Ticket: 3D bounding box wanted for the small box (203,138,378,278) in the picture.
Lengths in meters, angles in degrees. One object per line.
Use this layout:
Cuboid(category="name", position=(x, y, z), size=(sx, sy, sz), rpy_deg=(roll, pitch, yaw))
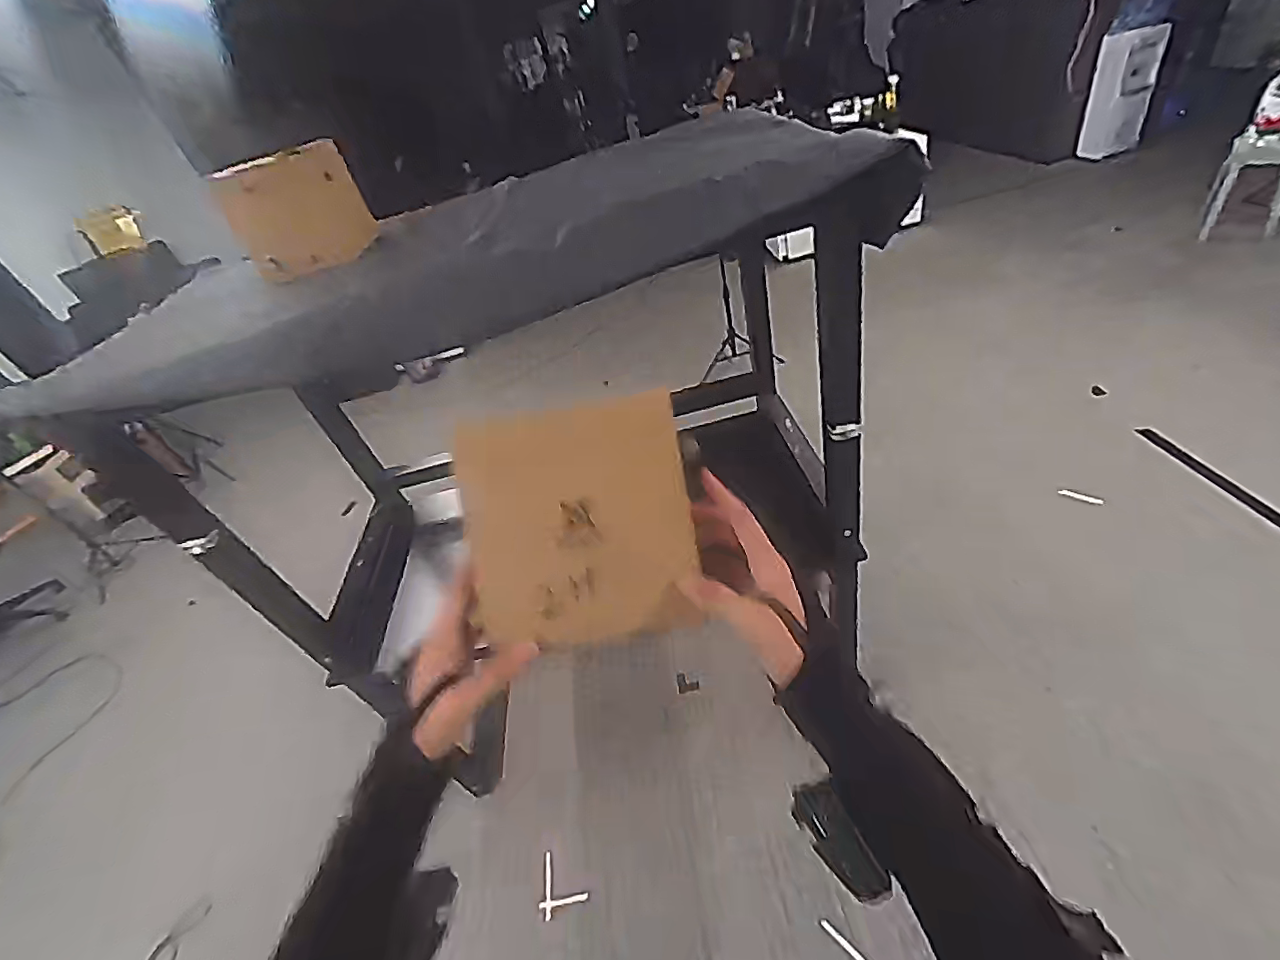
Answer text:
Cuboid(category="small box", position=(-0.596, -0.474, 0.953), size=(0.168, 0.176, 0.179), rpy_deg=(-14, 38, 4))
